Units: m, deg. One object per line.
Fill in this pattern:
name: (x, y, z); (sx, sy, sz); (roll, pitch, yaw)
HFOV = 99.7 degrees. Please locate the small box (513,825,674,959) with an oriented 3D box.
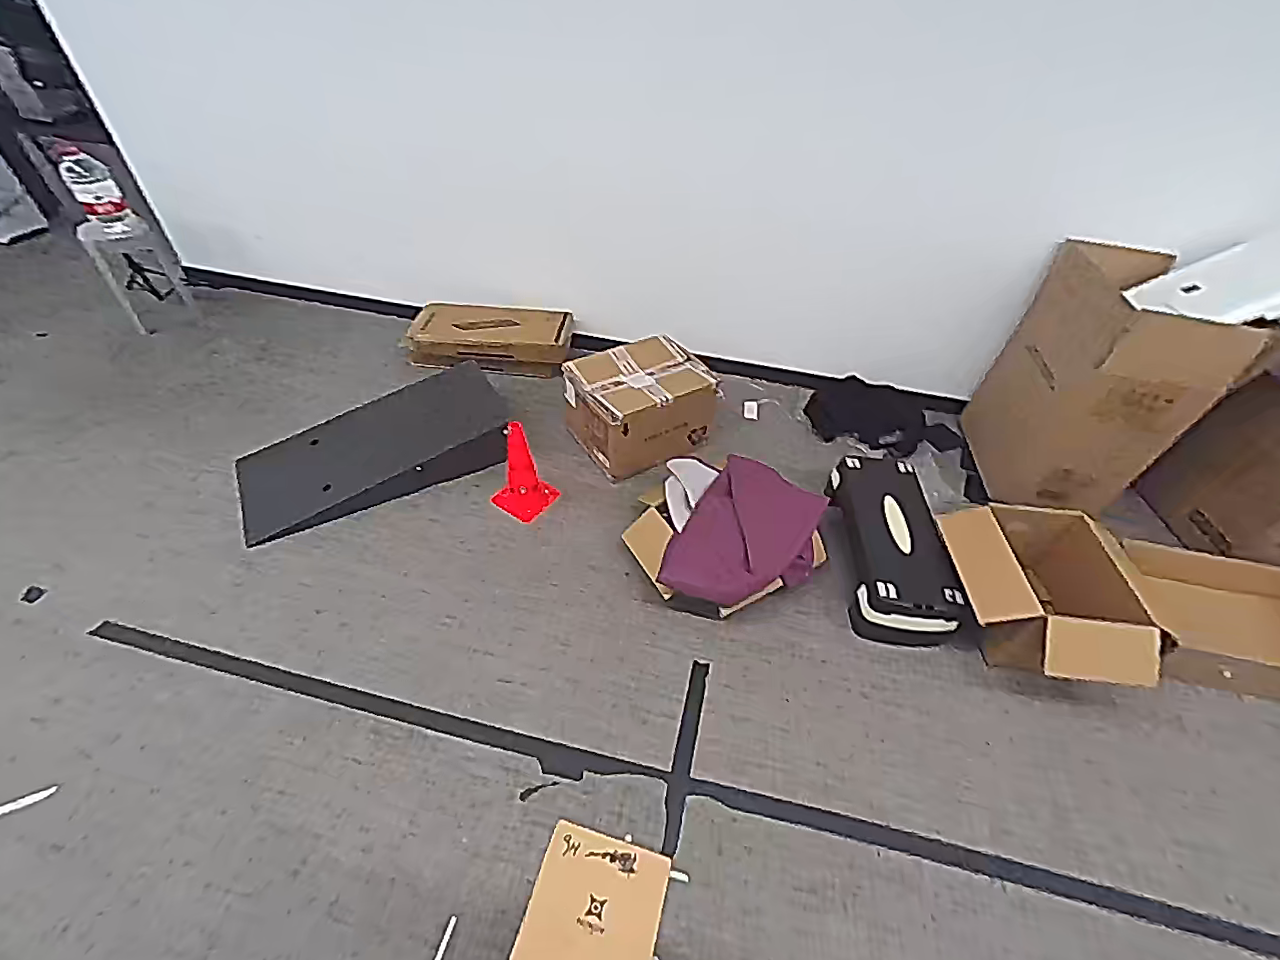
small box: (-0.057, 0.602, 0.720); (0.168, 0.176, 0.179); (13, 46, 10)
